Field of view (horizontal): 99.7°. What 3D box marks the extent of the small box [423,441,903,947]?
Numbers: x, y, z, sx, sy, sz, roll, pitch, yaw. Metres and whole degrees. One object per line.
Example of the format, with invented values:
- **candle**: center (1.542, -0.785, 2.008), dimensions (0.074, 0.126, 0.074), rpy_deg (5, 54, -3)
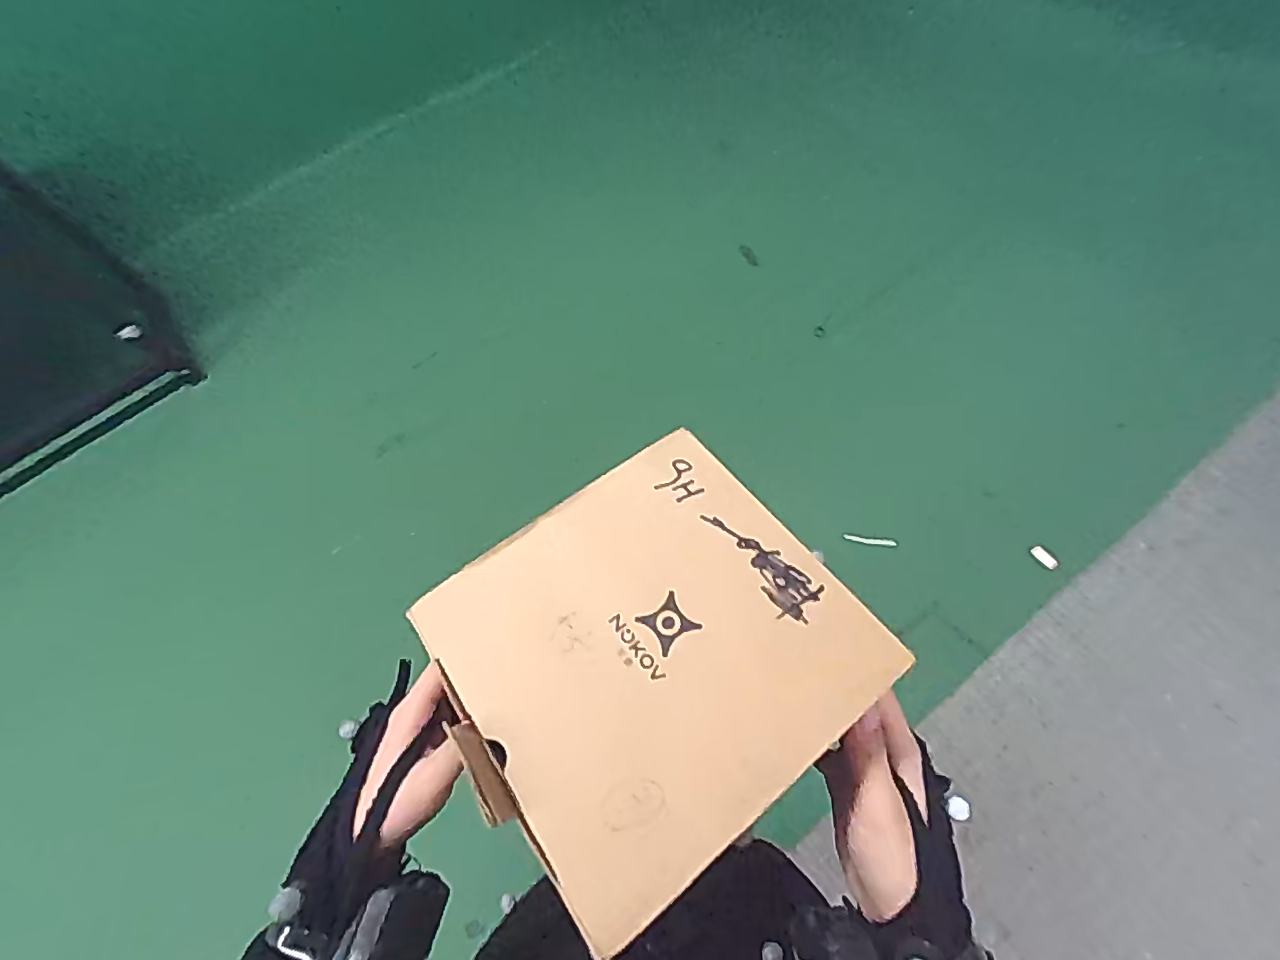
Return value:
- **small box**: center (0.010, 0.117, 0.326), dimensions (0.179, 0.176, 0.168), rpy_deg (-33, 65, -16)
